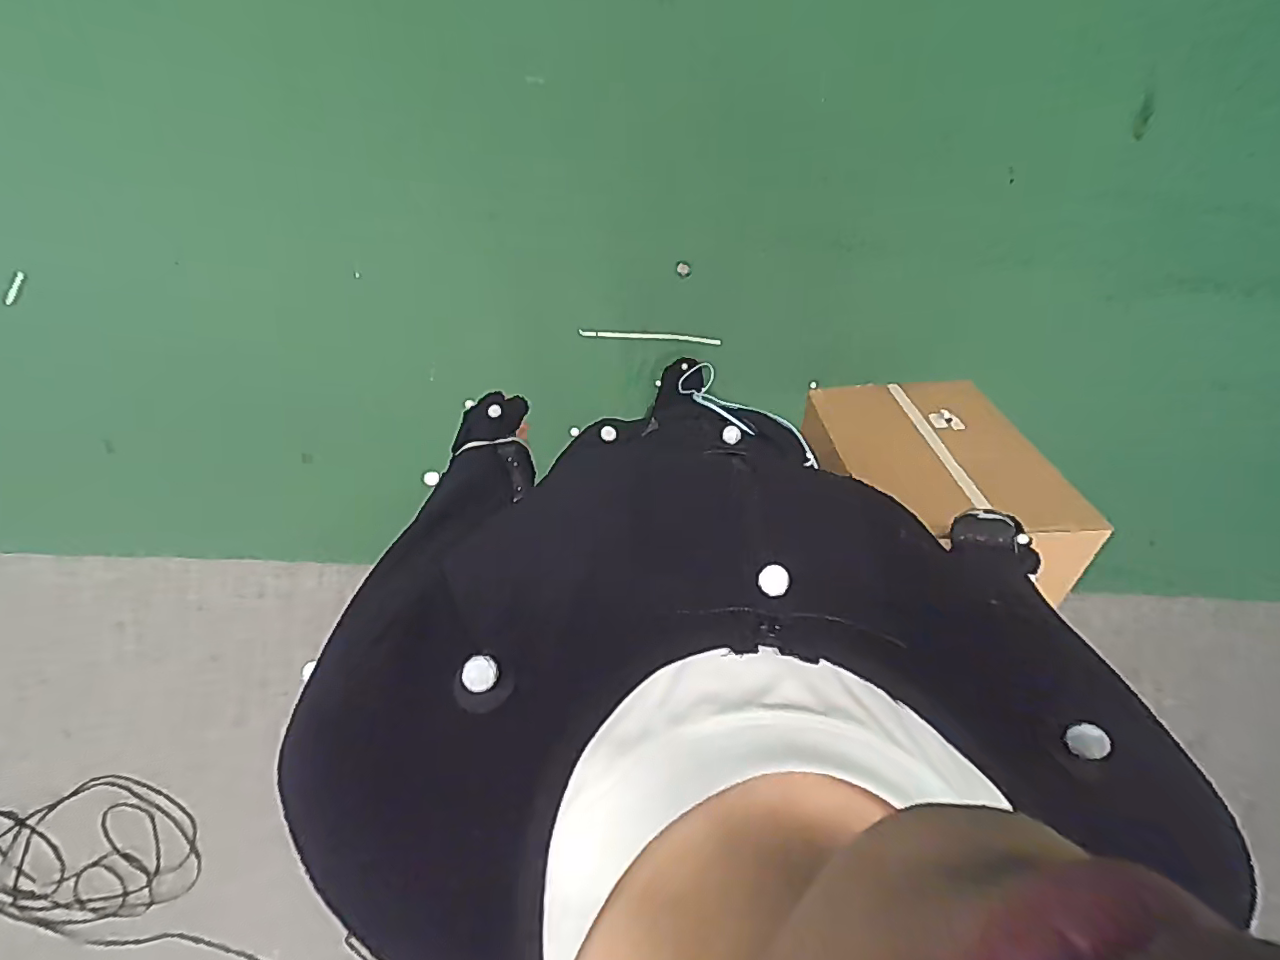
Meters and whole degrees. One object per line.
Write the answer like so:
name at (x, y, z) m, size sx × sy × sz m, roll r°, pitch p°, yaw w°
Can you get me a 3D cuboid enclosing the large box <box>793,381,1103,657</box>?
large box at (0.493, 0.060, 0.988) m, size 0.320 × 0.408 × 0.320 m, roll -3°, pitch 129°, yaw 1°
